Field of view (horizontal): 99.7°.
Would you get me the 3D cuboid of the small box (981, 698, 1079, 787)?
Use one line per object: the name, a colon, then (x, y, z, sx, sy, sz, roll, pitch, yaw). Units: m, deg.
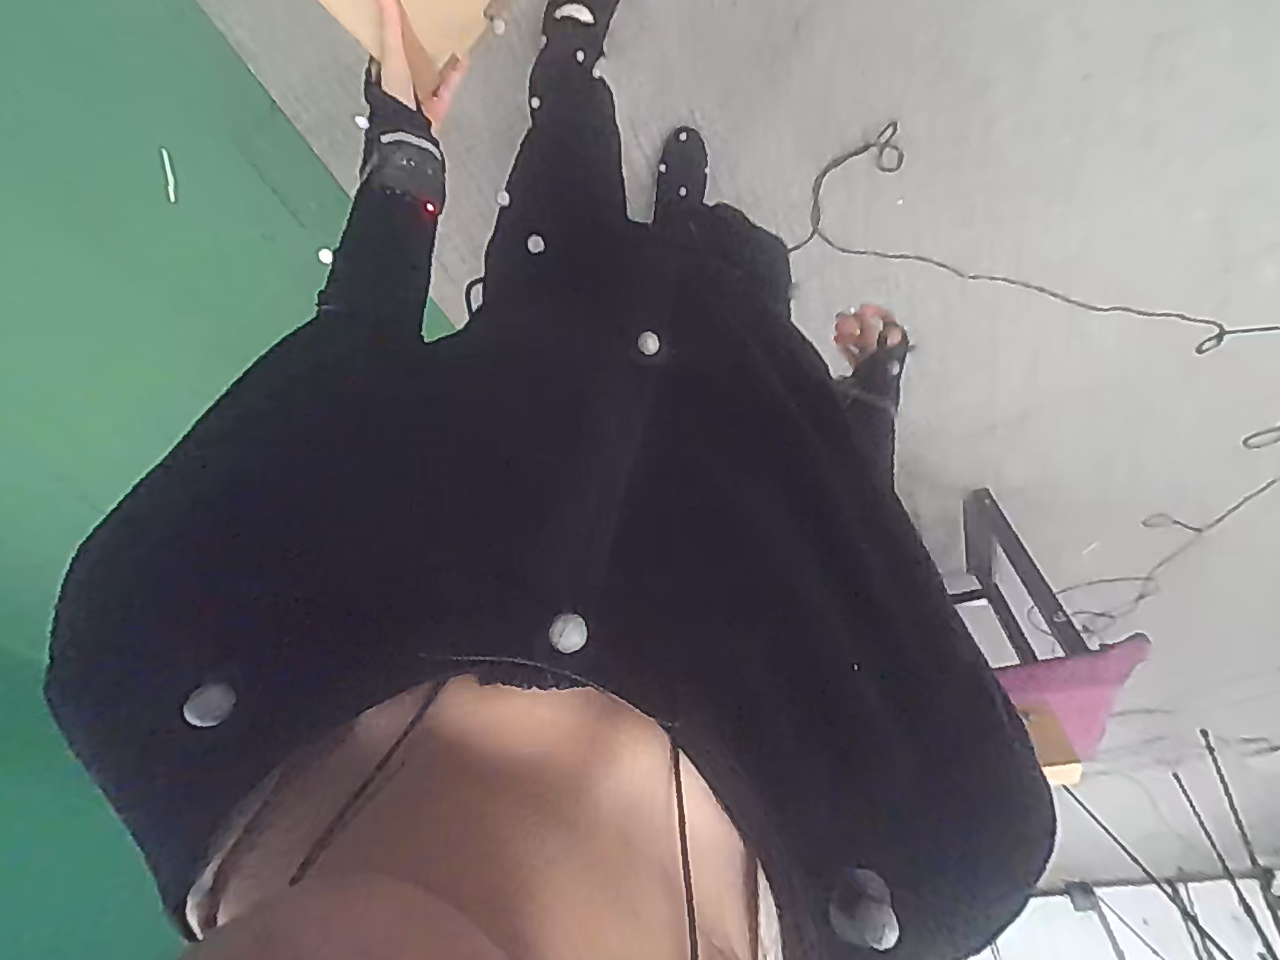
small box: (1.074, 0.730, 1.503, 0.168, 0.176, 0.179, -19, 131, 18)

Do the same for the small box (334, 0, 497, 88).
small box: (-0.208, -0.522, 0.496, 0.168, 0.176, 0.179, -28, 131, 29)
